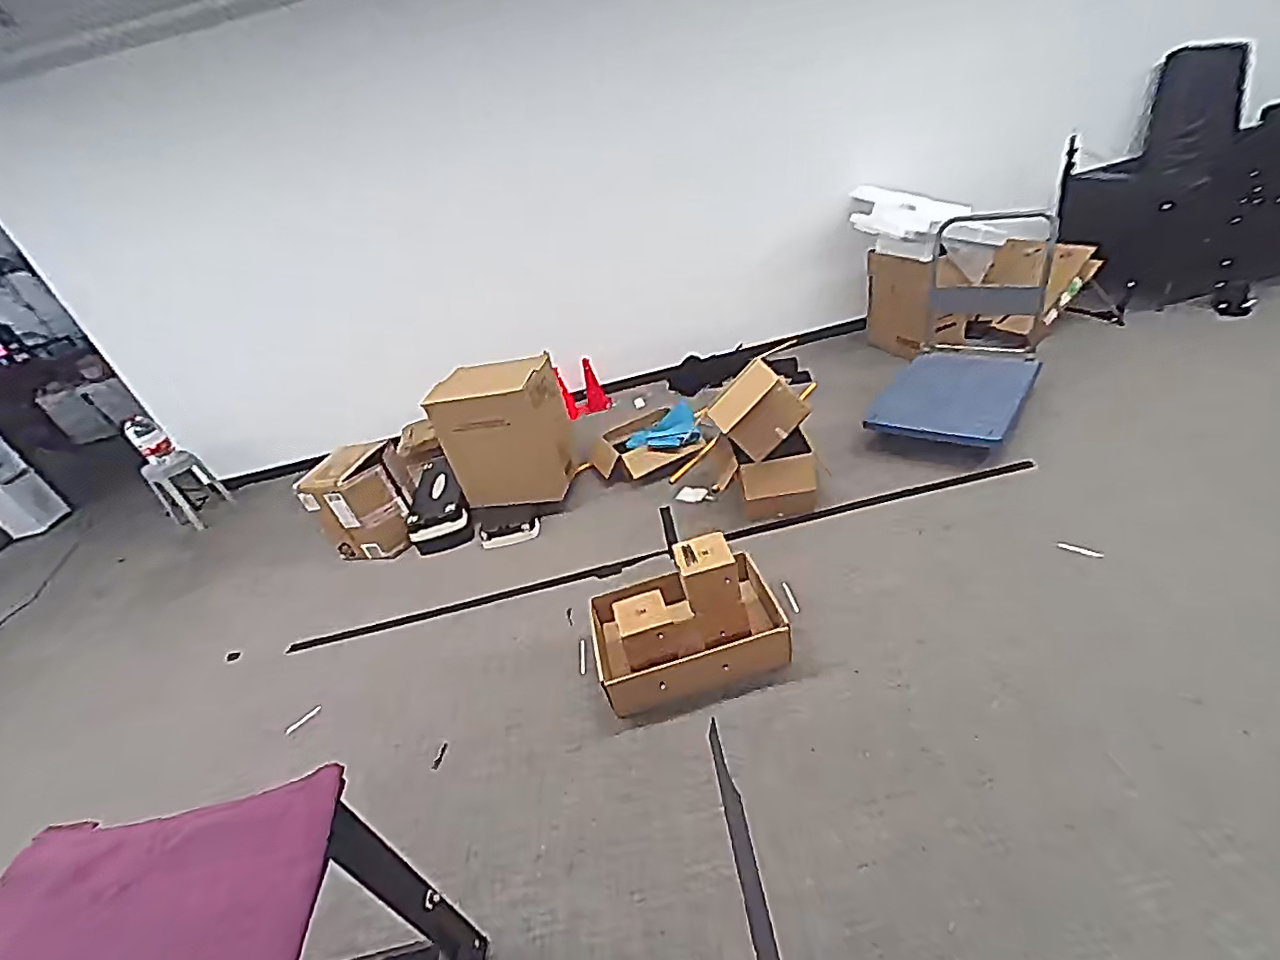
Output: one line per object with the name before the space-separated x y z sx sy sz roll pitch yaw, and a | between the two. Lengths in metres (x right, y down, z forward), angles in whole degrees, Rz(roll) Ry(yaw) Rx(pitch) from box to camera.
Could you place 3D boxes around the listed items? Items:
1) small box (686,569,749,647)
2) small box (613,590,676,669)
small box | 0.268 0.445 1.874 0.168 0.176 0.179 -17 32 -2
small box | 0.019 0.515 1.860 0.179 0.176 0.168 -16 31 -5
